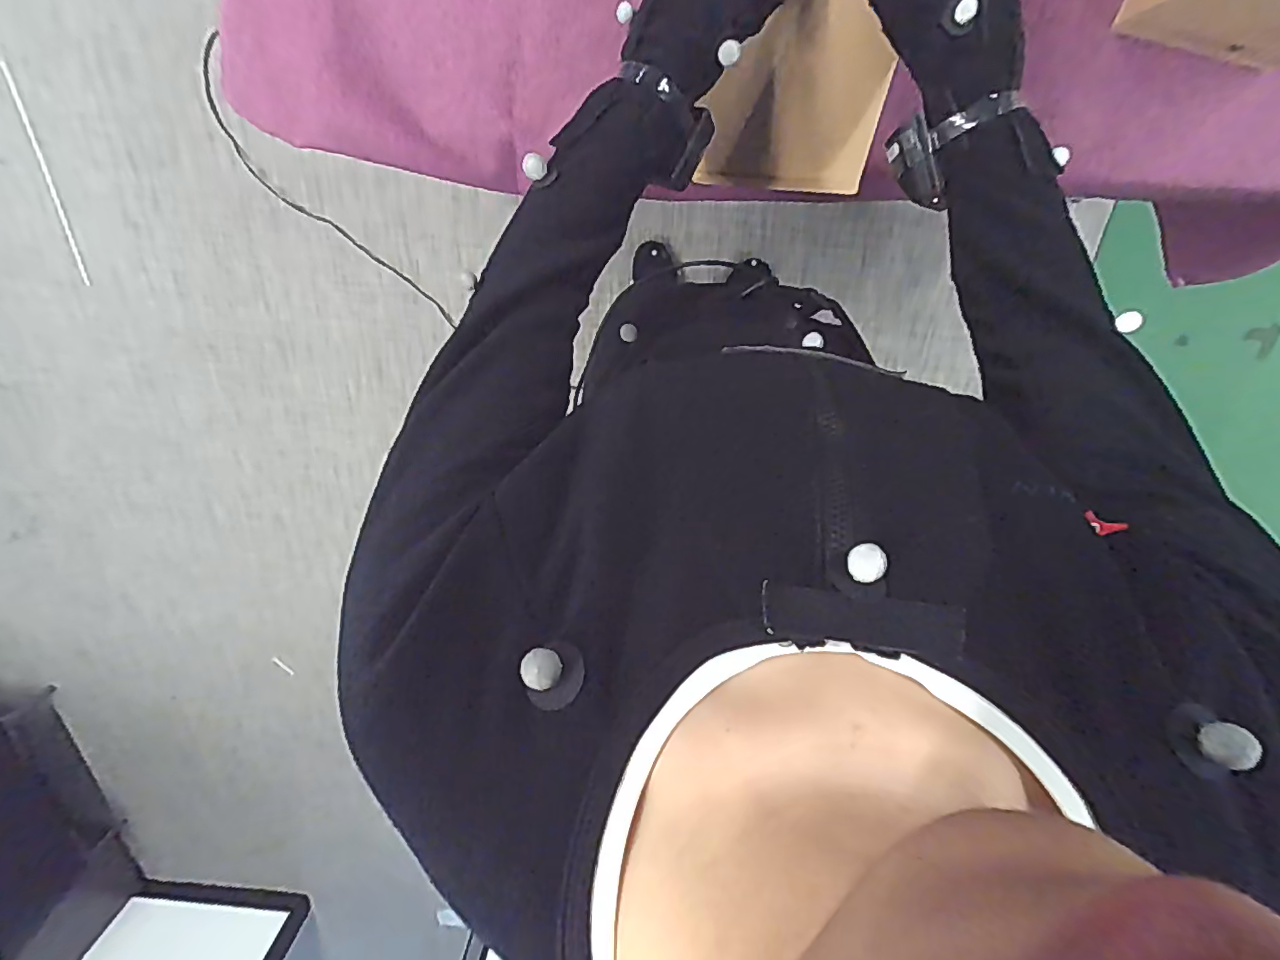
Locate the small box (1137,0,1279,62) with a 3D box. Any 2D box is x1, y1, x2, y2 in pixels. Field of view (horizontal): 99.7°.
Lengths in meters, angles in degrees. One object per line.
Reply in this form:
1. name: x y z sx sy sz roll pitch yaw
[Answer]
1. small box: 0.546 -0.457 0.411 0.168 0.176 0.179 14 114 -2
